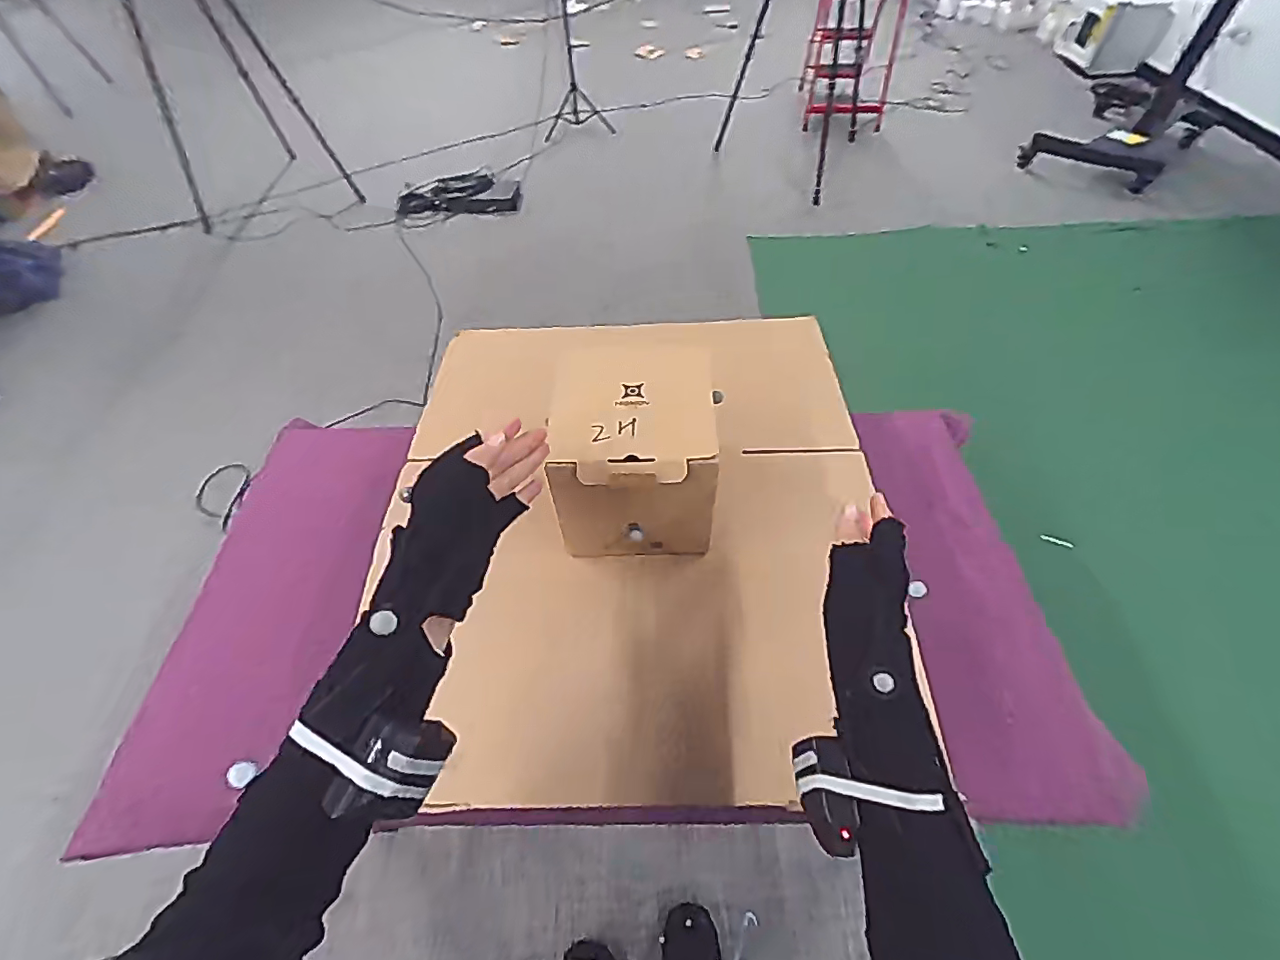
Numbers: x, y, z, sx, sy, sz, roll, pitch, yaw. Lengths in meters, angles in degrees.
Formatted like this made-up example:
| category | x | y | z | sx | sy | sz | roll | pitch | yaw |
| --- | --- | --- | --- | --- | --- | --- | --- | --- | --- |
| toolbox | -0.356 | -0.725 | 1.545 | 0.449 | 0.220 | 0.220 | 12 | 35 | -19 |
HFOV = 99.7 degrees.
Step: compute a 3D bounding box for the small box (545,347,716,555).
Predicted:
| category | x | y | z | sx | sy | sz | roll | pitch | yaw |
| --- | --- | --- | --- | --- | --- | --- | --- | --- | --- |
| small box | -0.007 | -0.032 | 0.622 | 0.168 | 0.176 | 0.179 | -1 | 52 | 2 |
